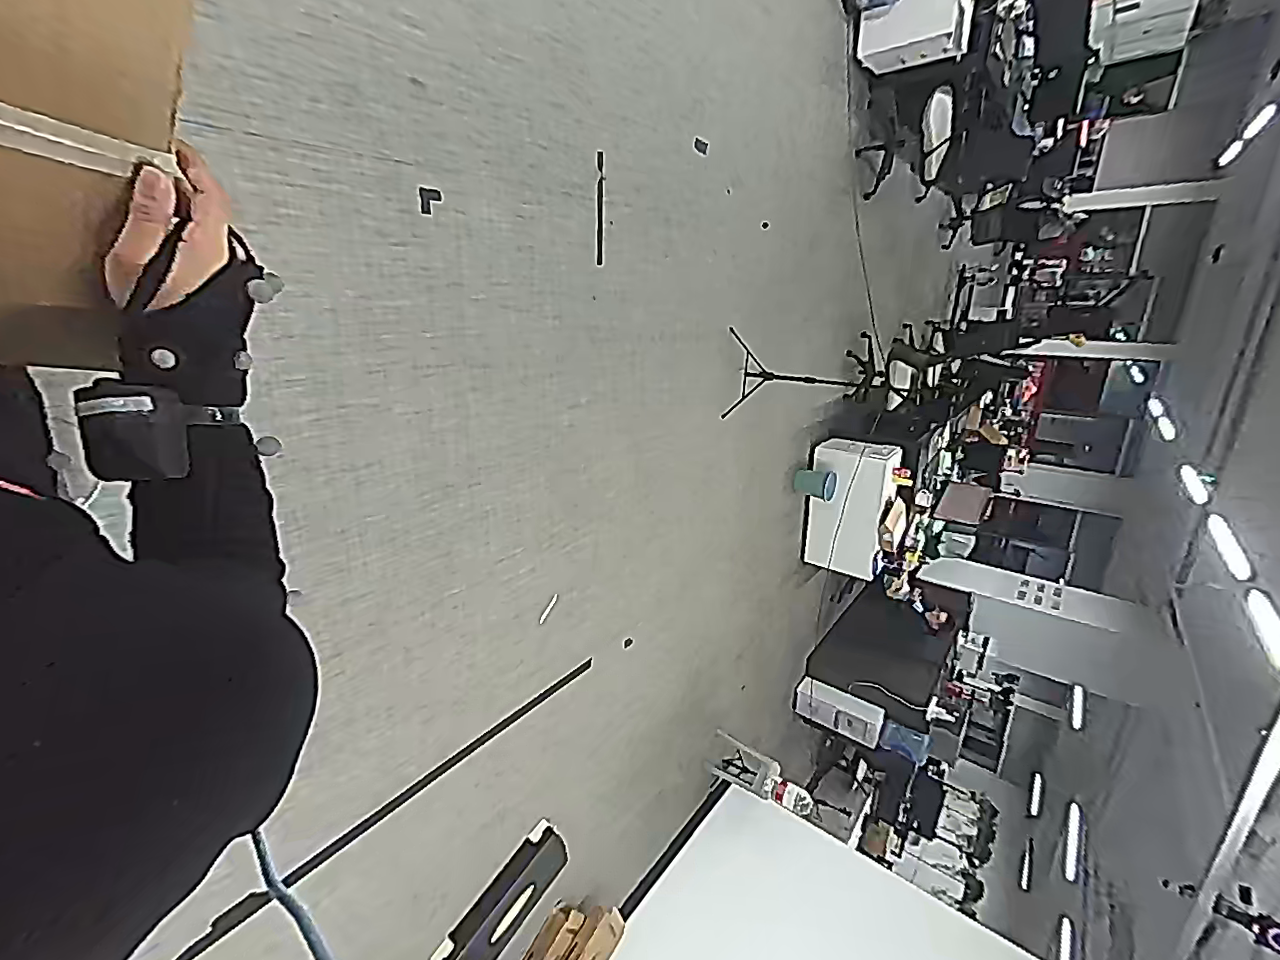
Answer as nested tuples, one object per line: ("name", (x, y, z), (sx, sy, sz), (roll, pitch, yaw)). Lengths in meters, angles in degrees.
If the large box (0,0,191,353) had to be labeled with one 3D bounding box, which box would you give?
("large box", (-0.497, -0.290, 0.233), (0.408, 0.320, 0.320), (-7, 144, -52))
